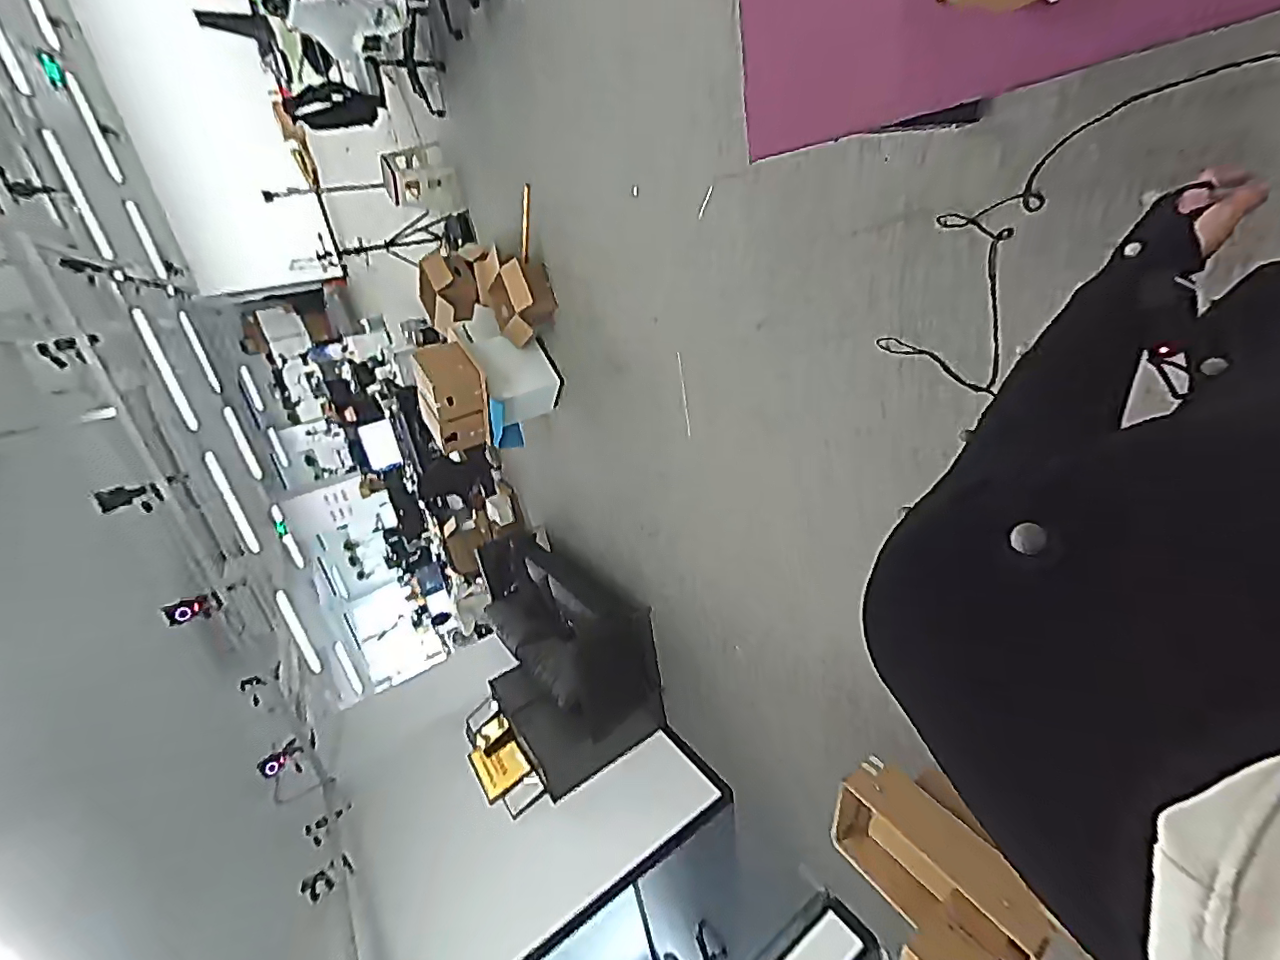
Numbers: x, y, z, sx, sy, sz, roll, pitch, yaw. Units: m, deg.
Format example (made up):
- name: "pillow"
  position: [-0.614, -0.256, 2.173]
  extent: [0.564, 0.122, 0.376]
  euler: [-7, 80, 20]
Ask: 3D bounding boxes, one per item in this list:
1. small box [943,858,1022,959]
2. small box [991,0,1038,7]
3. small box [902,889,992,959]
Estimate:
- name: "small box"
  position: [1.048, 1.330, 1.677]
  extent: [0.168, 0.176, 0.179]
  euler: [33, 138, 49]
- name: "small box"
  position: [0.445, -0.640, 0.565]
  extent: [0.168, 0.176, 0.179]
  euler: [26, 131, 54]
- name: "small box"
  position: [0.910, 1.382, 1.605]
  extent: [0.168, 0.176, 0.179]
  euler: [29, 135, 49]
